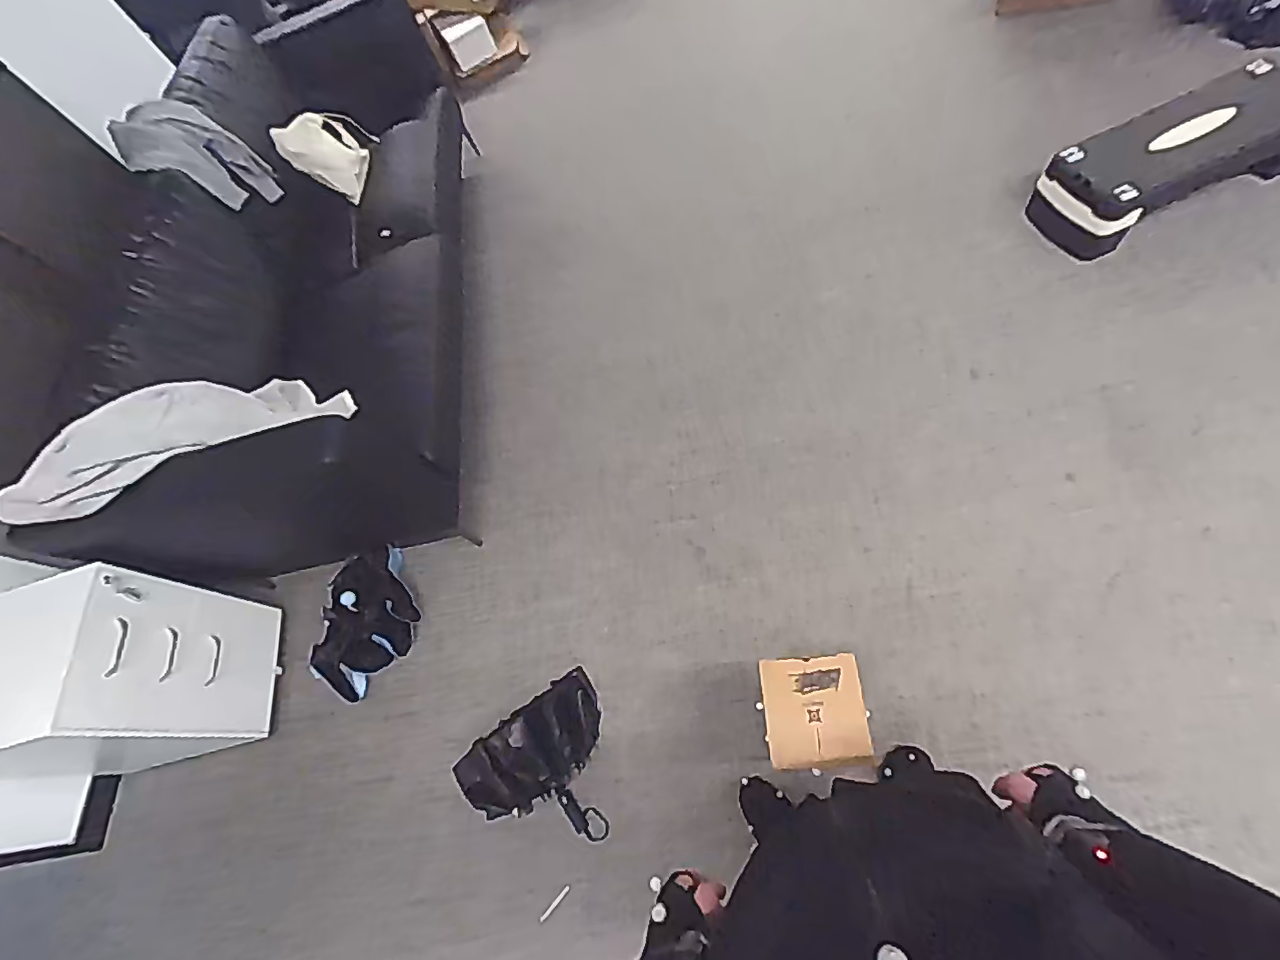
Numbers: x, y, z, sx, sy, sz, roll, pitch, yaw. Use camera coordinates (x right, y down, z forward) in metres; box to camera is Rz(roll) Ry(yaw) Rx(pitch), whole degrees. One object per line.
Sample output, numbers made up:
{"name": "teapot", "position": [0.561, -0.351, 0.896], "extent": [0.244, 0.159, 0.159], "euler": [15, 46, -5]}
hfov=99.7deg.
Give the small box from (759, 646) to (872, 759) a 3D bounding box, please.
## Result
{"name": "small box", "position": [0.311, 0.410, 0.989], "extent": [0.168, 0.176, 0.179], "euler": [-7, 65, 12]}
